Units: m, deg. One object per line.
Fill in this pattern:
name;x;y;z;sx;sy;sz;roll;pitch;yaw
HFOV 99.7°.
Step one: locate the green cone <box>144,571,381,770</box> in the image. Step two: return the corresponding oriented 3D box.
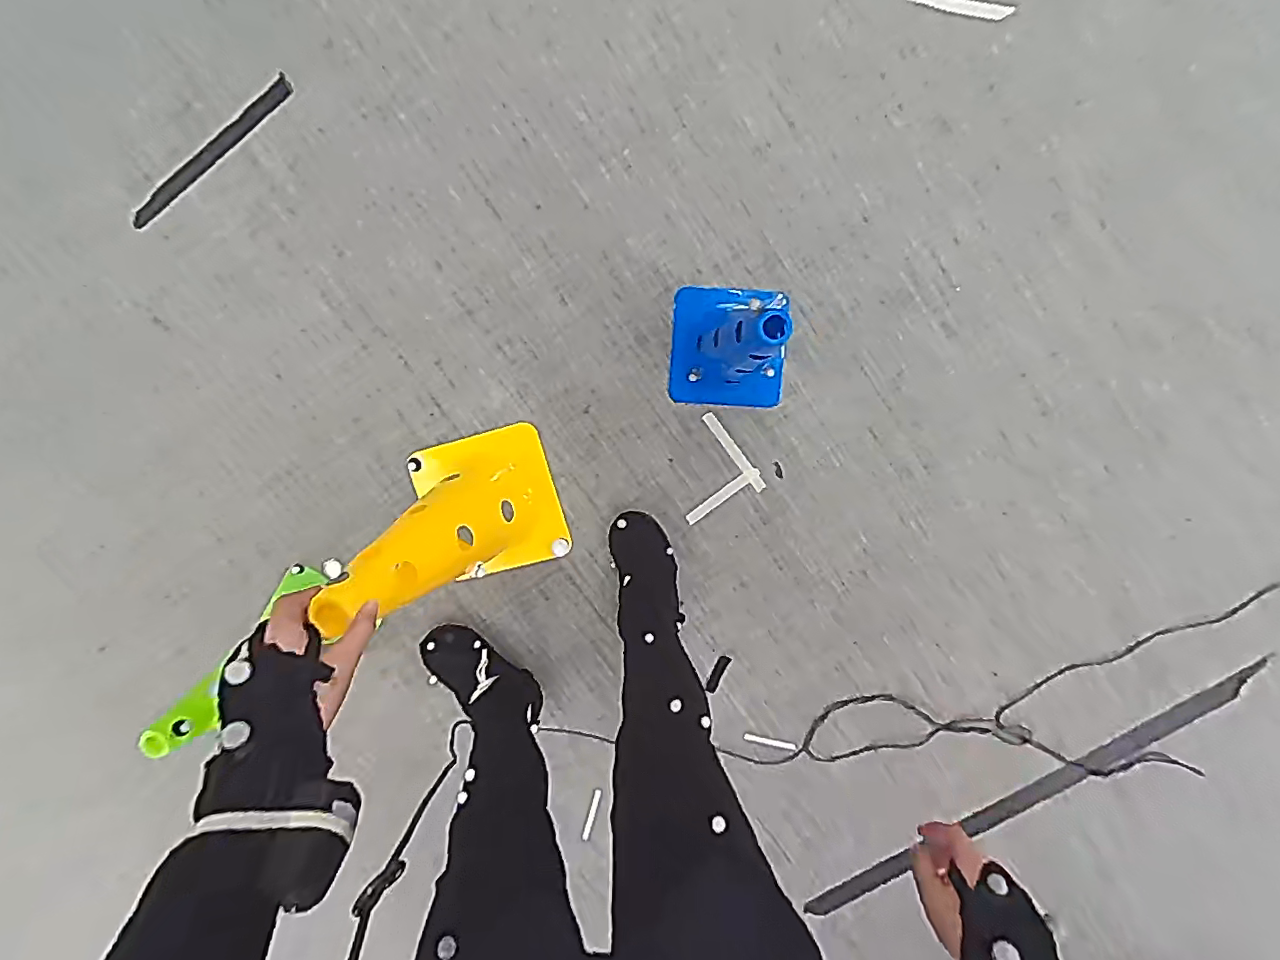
green cone;-0.626;0.326;0.872;0.202;0.368;0.200;32;99;-5
